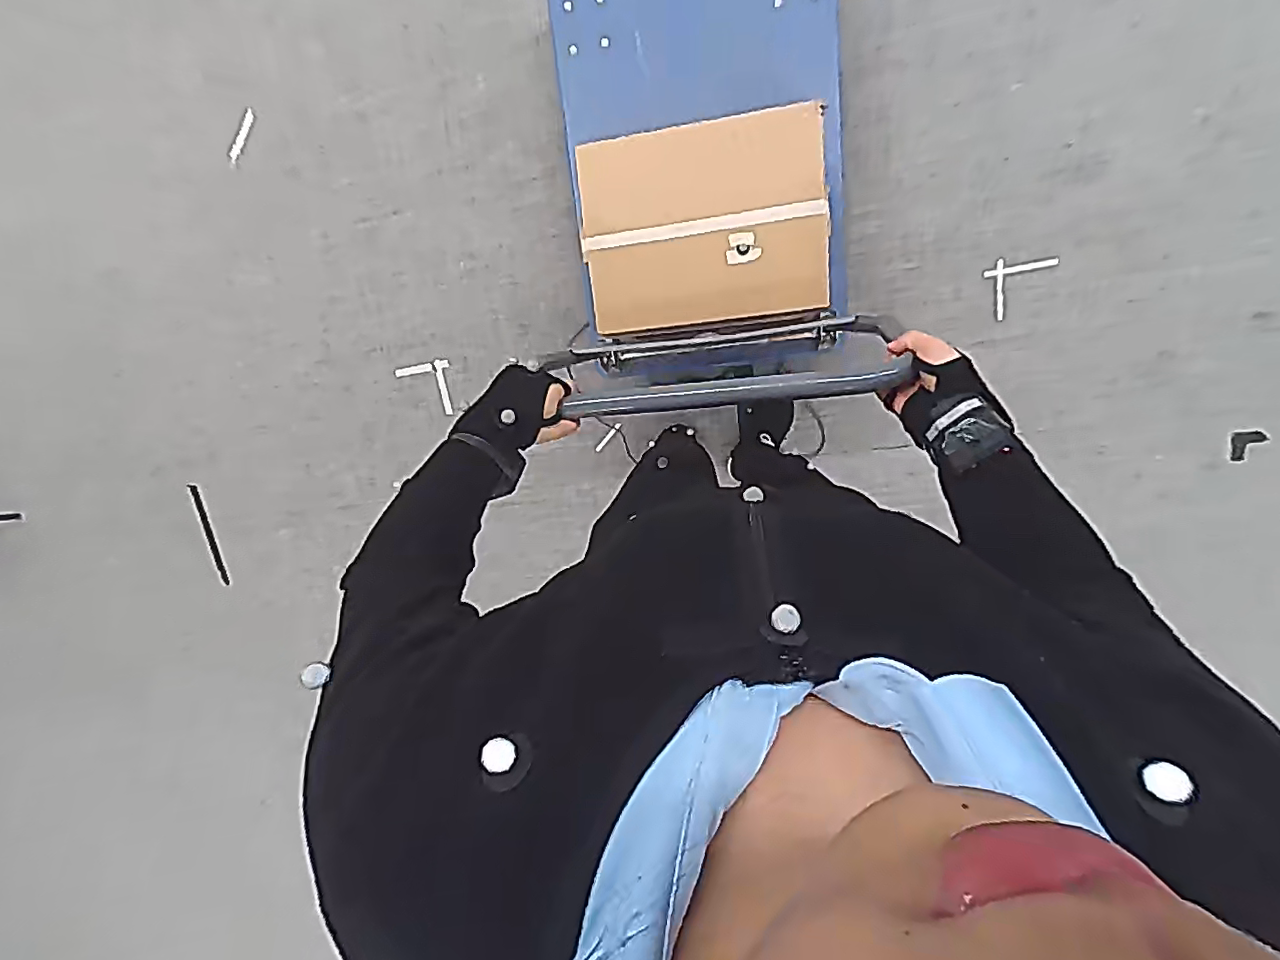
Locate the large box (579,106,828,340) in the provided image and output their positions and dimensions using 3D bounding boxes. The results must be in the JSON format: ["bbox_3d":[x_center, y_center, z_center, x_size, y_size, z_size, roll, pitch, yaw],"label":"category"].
[{"bbox_3d":[0.128,-0.459,1.060,0.408,0.320,0.320,-4,104,10],"label":"large box"}]
